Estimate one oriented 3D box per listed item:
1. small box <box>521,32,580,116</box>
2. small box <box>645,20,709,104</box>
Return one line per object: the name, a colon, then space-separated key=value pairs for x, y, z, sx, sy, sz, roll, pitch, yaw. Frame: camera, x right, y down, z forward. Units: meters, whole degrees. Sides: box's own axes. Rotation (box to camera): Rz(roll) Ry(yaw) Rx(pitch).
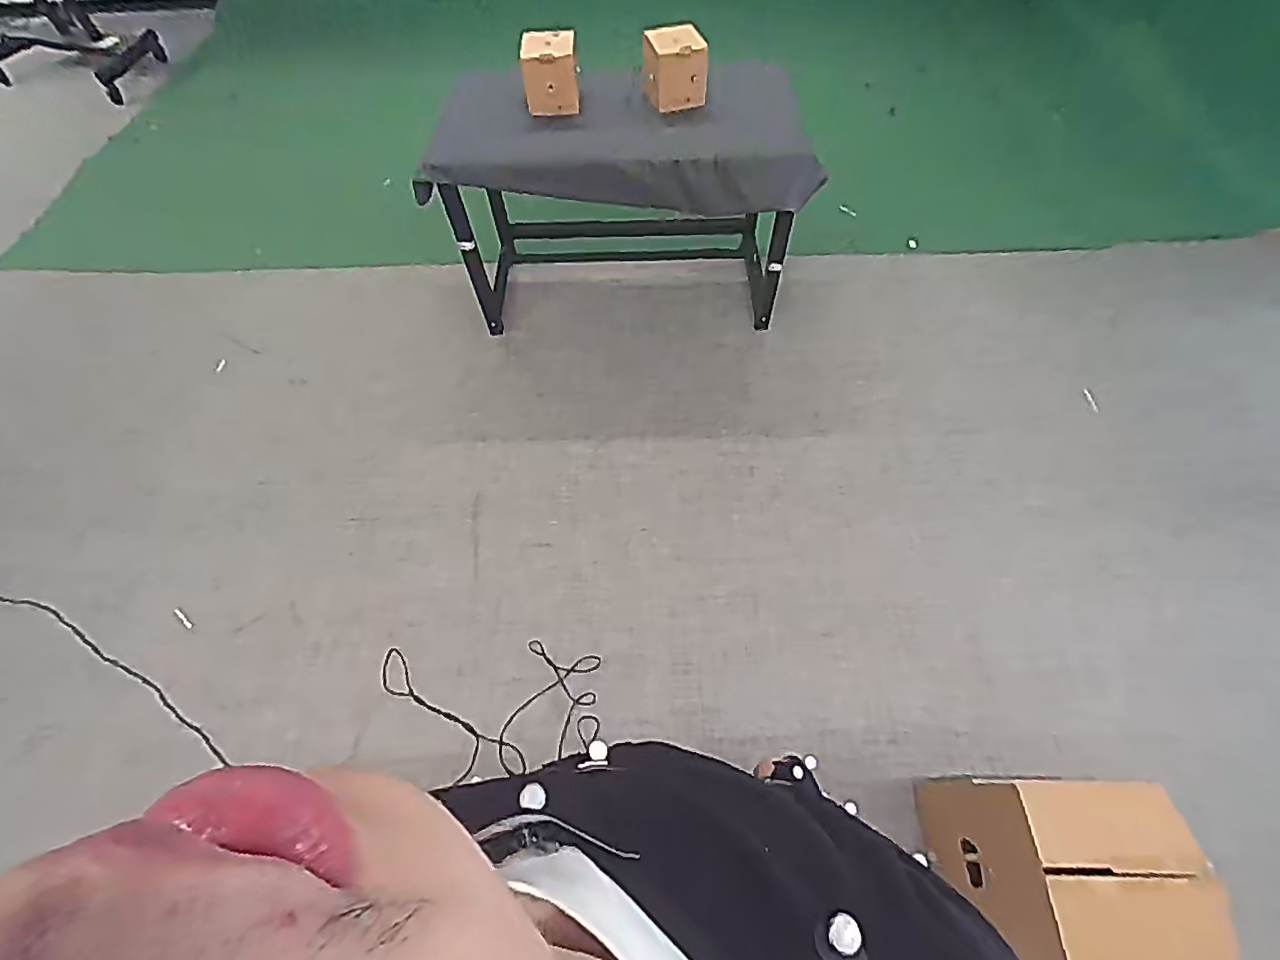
small box: x=-0.289 y=-1.320 z=1.768 sx=0.168 sy=0.176 sz=0.179 roll=-6 pitch=59 yaw=-1
small box: x=0.114 y=-1.348 z=1.753 sx=0.168 sy=0.176 sz=0.179 roll=-12 pitch=60 yaw=-8
